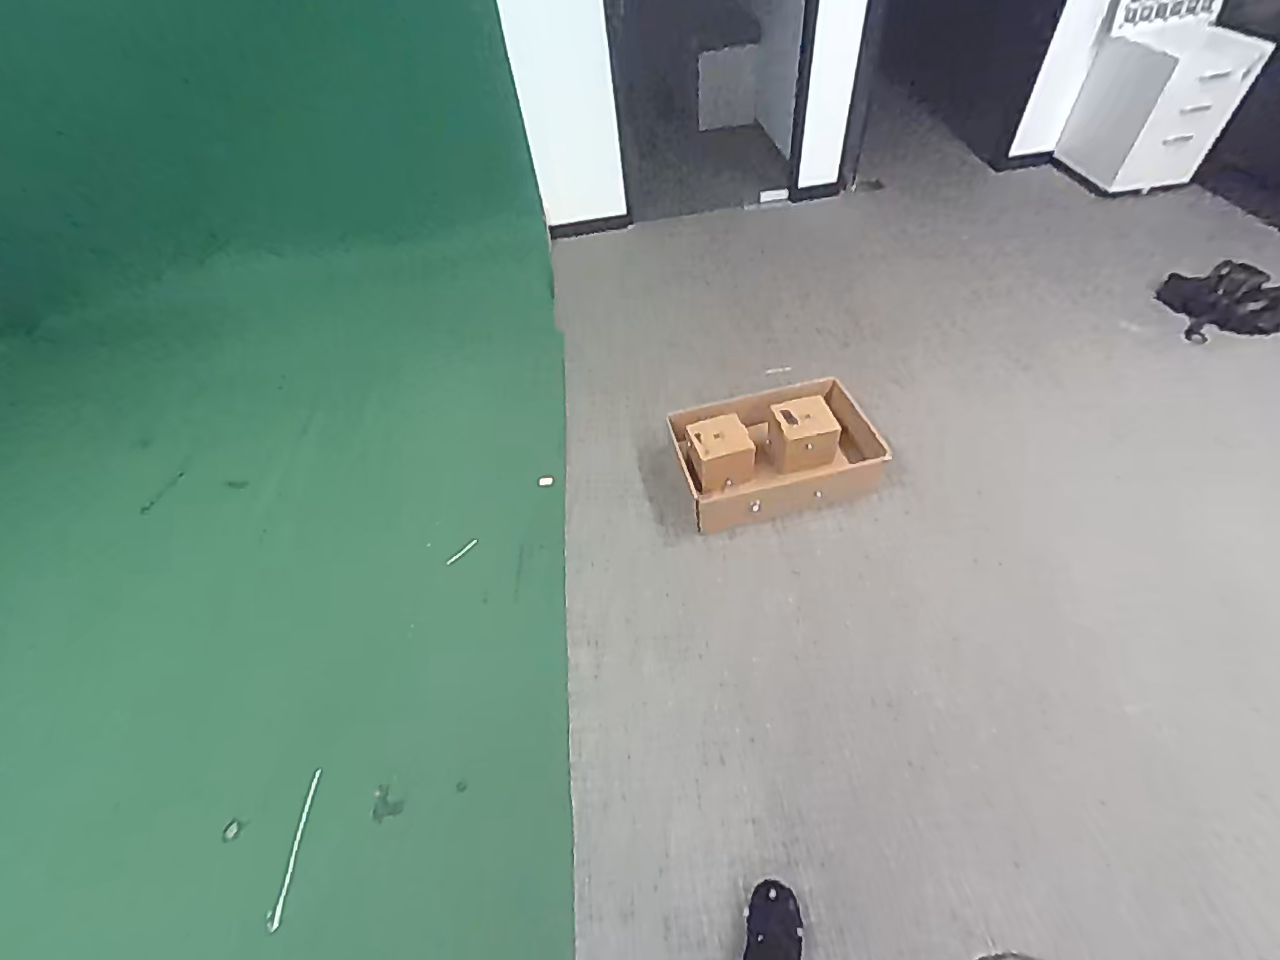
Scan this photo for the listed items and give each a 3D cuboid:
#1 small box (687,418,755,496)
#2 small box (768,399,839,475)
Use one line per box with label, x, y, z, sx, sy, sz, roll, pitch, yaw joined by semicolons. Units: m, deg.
small box;0.258;-0.073;1.765;0.179;0.176;0.168;-14;49;-7
small box;0.531;-0.137;1.784;0.179;0.176;0.168;-12;50;-2
